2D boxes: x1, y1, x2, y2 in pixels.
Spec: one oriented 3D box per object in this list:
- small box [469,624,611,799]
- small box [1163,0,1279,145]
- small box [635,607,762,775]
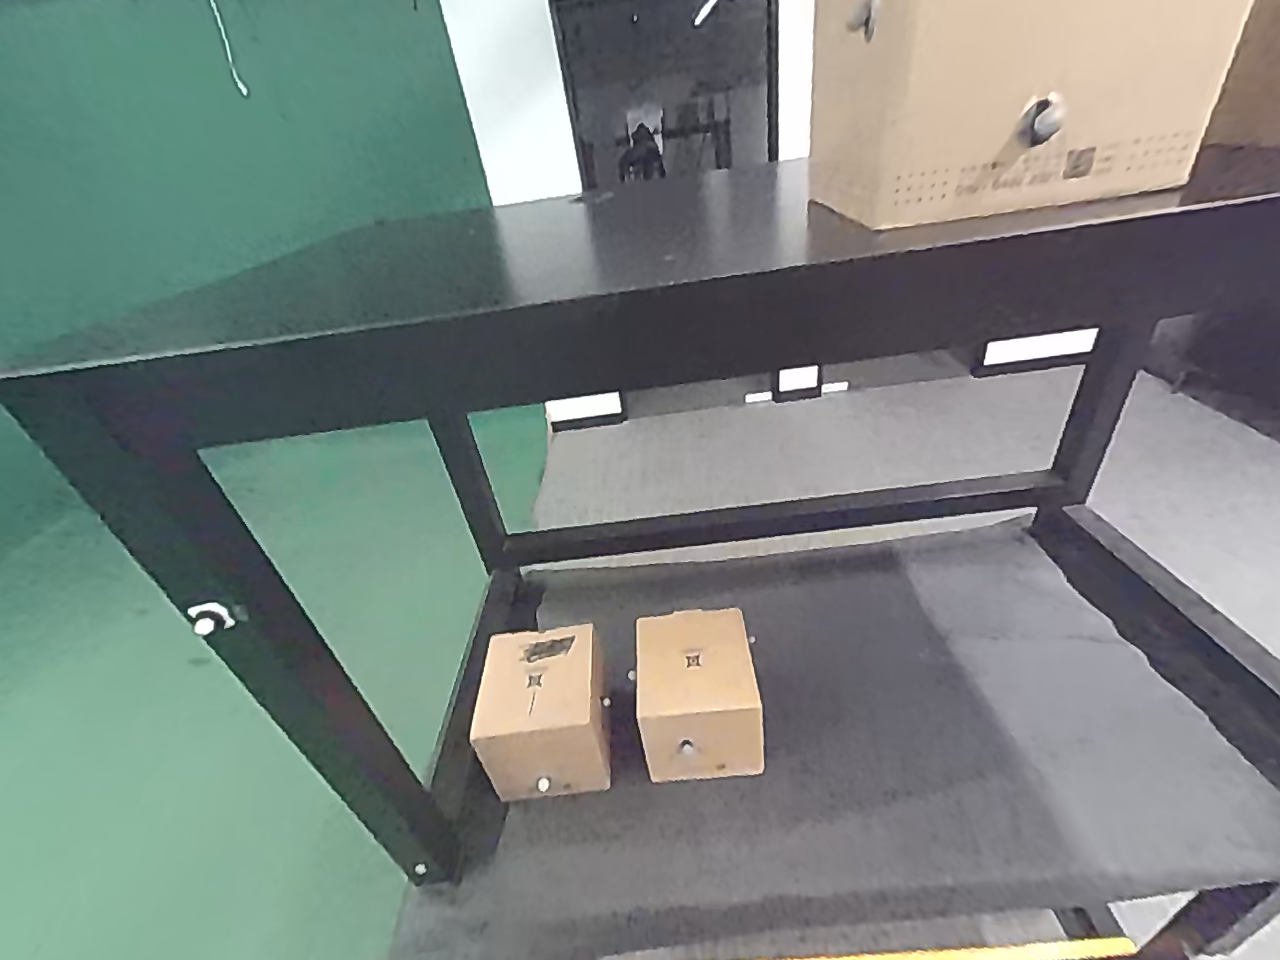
[{"bbox_3d":[-0.139,0.349,0.823,0.168,0.176,0.179,-8,33,2],"label":"small box"},{"bbox_3d":[0.475,-0.304,0.313,0.168,0.176,0.179,-2,33,11],"label":"small box"},{"bbox_3d":[0.086,0.320,0.814,0.168,0.176,0.179,-7,32,4],"label":"small box"}]
